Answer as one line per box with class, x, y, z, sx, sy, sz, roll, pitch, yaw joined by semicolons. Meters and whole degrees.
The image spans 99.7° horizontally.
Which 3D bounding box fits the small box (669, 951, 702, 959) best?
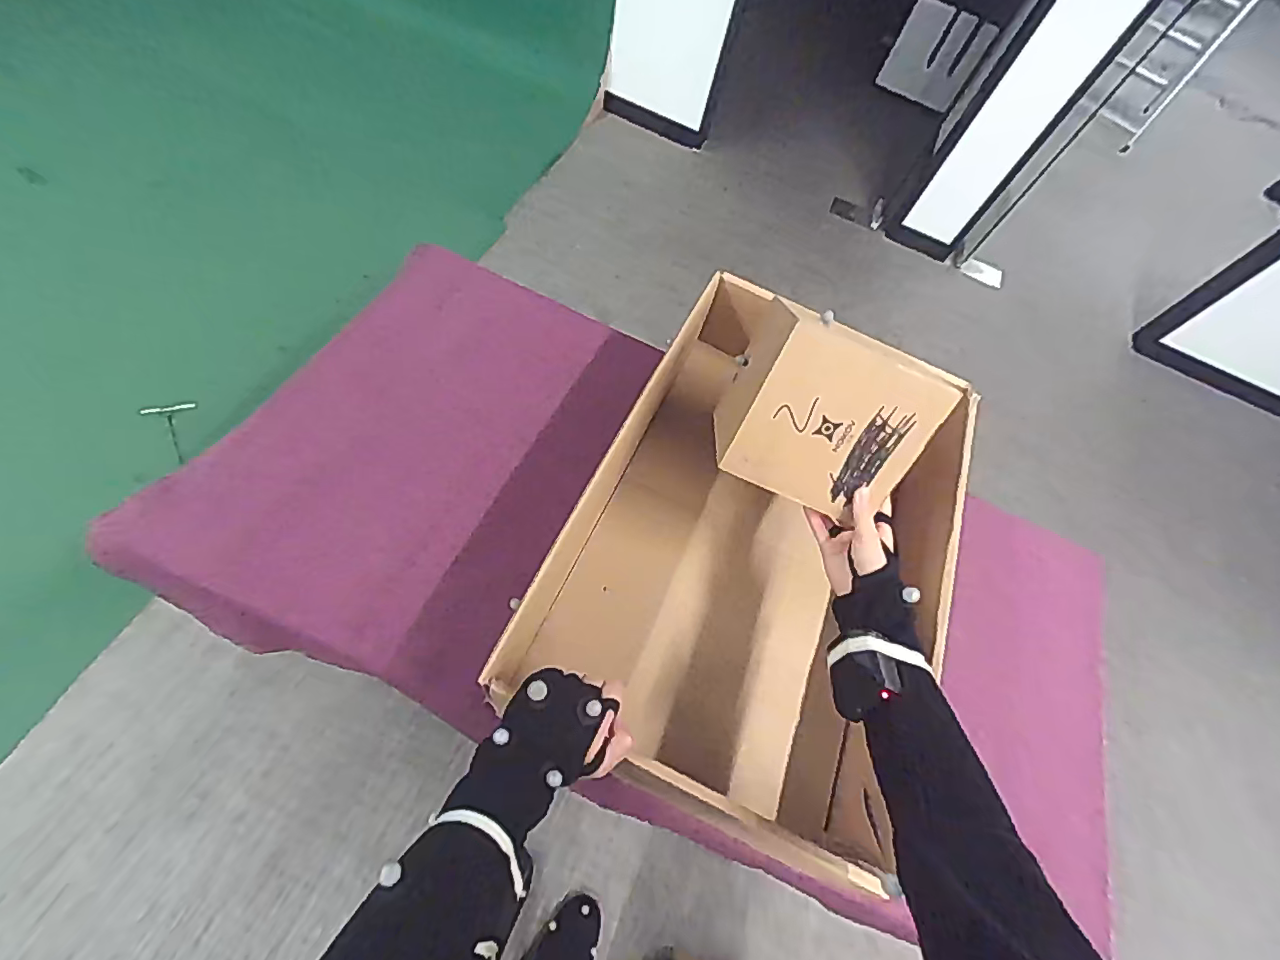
small box;0.132;1.034;1.015;0.179;0.176;0.168;24;60;2
